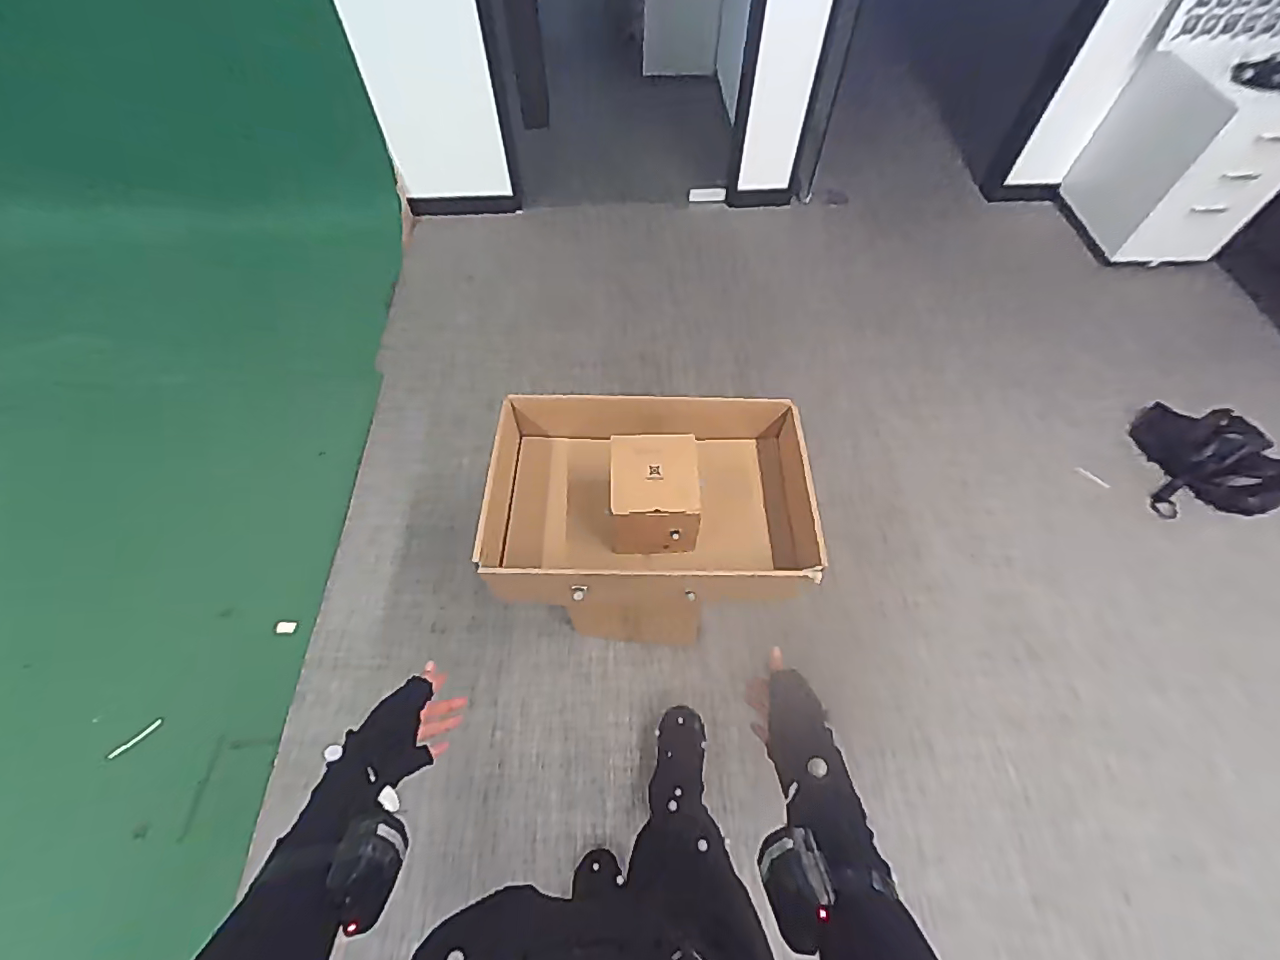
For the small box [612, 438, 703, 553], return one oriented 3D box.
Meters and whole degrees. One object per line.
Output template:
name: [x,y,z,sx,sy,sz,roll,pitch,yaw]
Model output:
small box: [0.029,0.036,1.074,0.168,0.176,0.179,-1,56,-3]
